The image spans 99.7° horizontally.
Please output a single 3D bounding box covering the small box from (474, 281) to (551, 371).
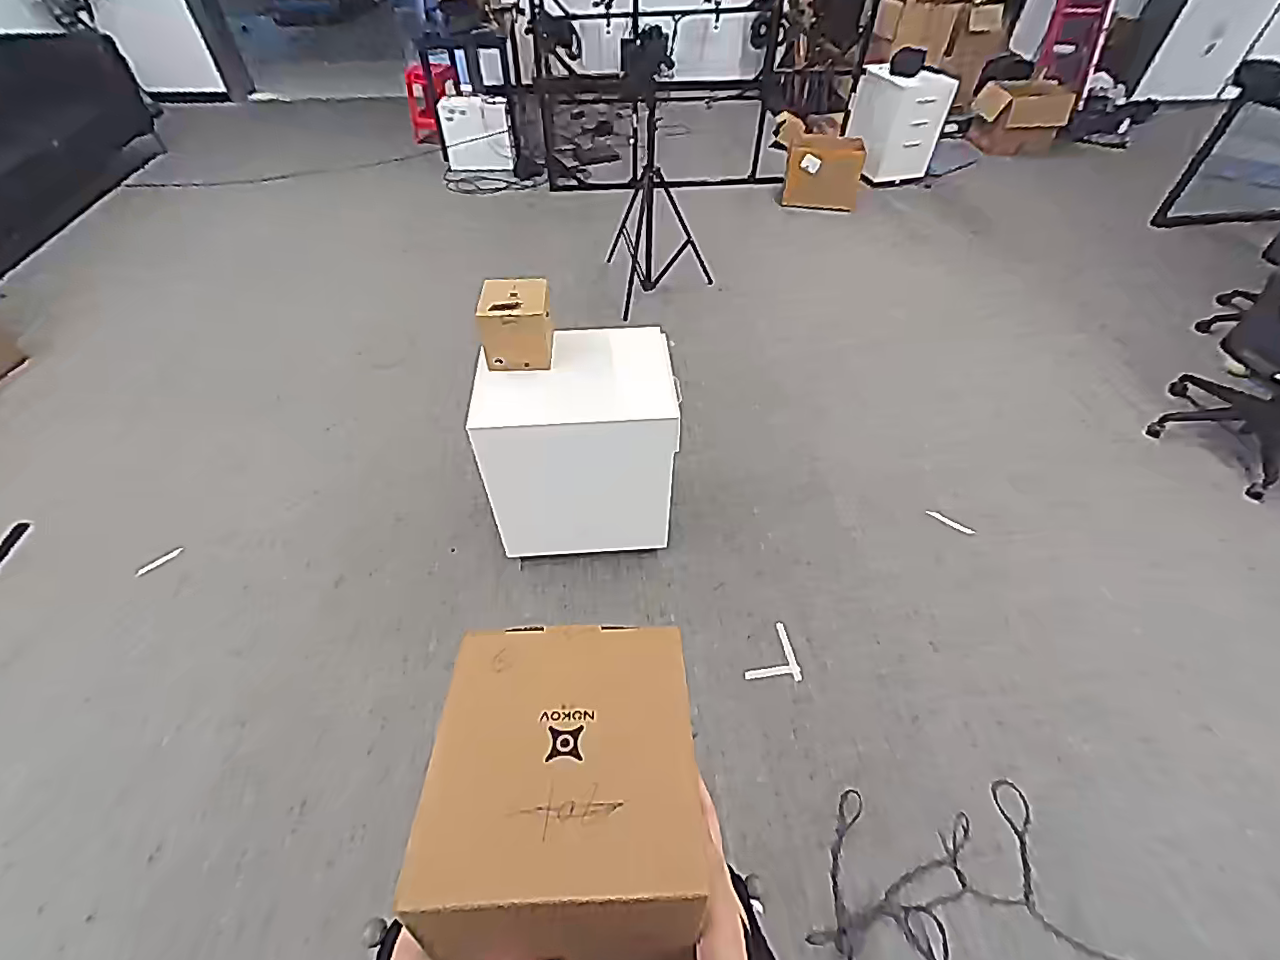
[{"bbox_3d":[-0.327,-0.402,1.425,0.168,0.176,0.179,-2,48,-3],"label":"small box"}]

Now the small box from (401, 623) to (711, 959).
[{"bbox_3d":[-0.048,0.227,0.394,0.168,0.176,0.179,0,37,-2],"label":"small box"}]
